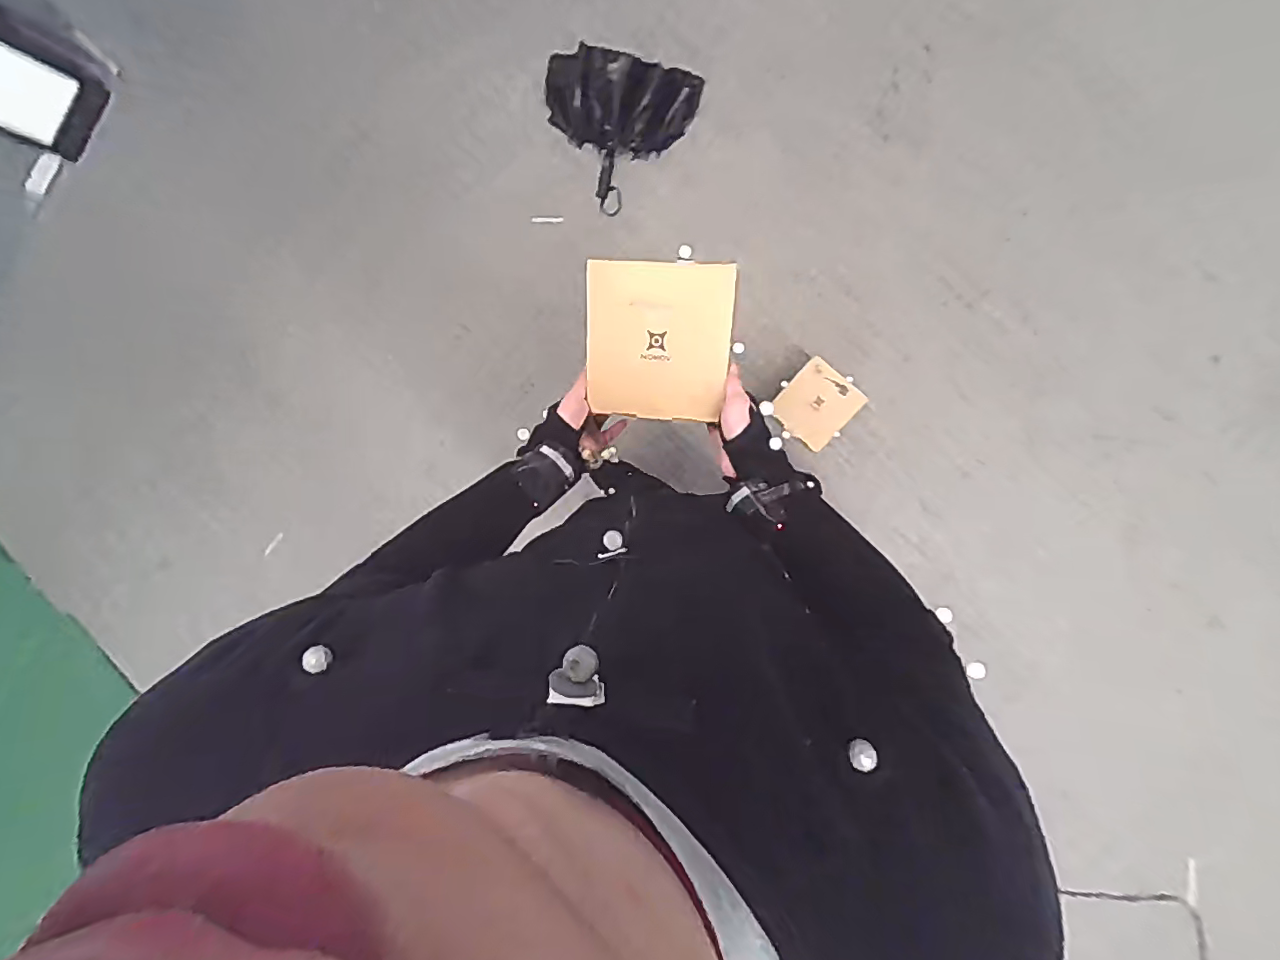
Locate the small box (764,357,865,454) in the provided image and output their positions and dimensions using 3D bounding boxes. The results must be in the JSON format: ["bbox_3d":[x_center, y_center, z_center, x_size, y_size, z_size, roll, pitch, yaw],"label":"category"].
[{"bbox_3d":[0.437,-0.186,1.372,0.168,0.176,0.179,43,104,5],"label":"small box"}]

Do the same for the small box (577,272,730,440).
[{"bbox_3d":[0.024,-0.164,0.684,0.168,0.176,0.179,4,113,9],"label":"small box"}]
